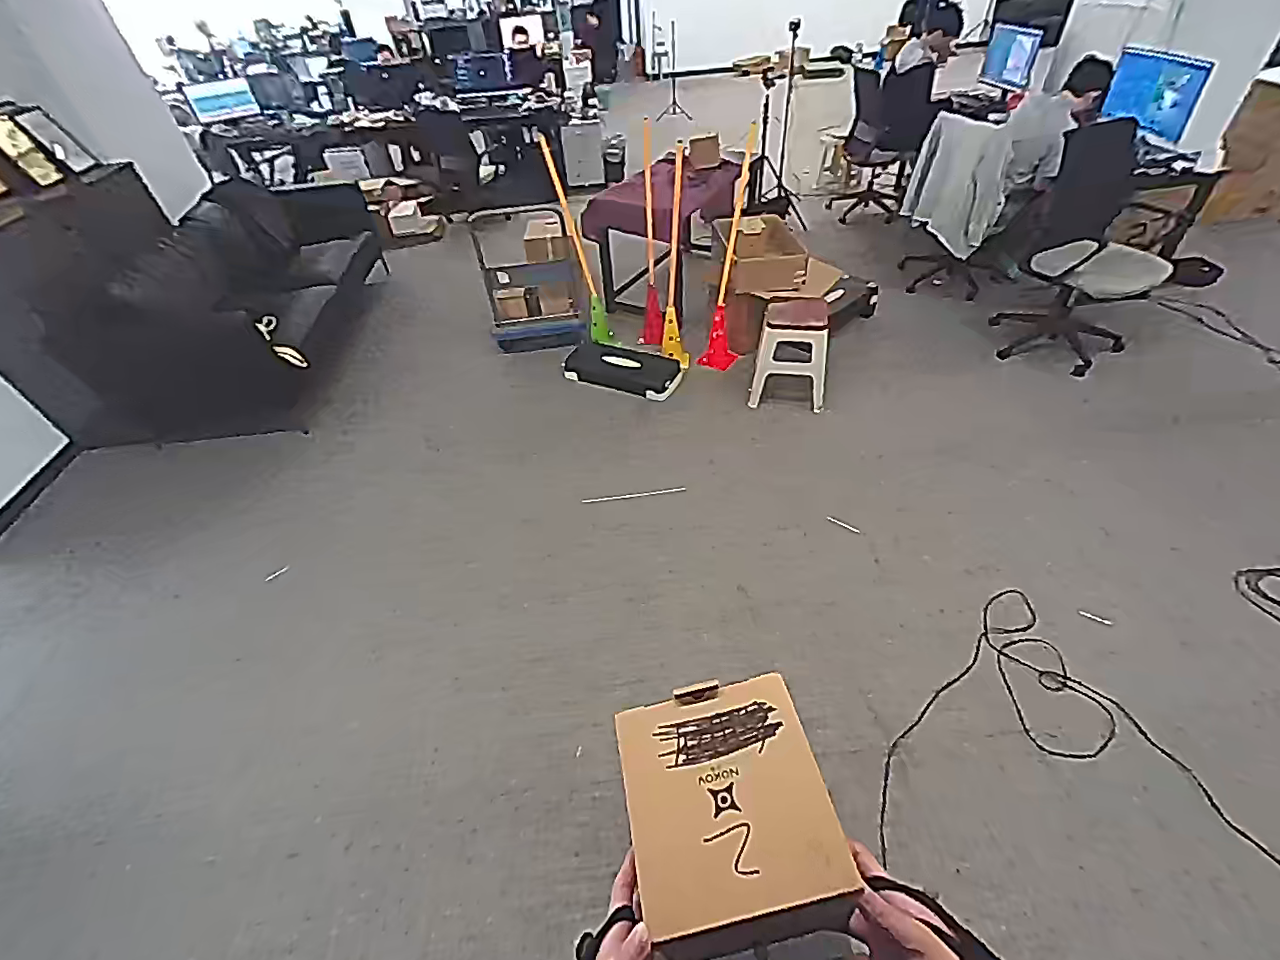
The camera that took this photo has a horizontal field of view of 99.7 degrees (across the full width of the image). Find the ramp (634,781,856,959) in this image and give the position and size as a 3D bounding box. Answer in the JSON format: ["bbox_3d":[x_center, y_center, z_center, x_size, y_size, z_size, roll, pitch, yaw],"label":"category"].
[{"bbox_3d":[0.264,1.188,1.168,0.509,0.206,0.991,-9,44,-2],"label":"ramp"}]
